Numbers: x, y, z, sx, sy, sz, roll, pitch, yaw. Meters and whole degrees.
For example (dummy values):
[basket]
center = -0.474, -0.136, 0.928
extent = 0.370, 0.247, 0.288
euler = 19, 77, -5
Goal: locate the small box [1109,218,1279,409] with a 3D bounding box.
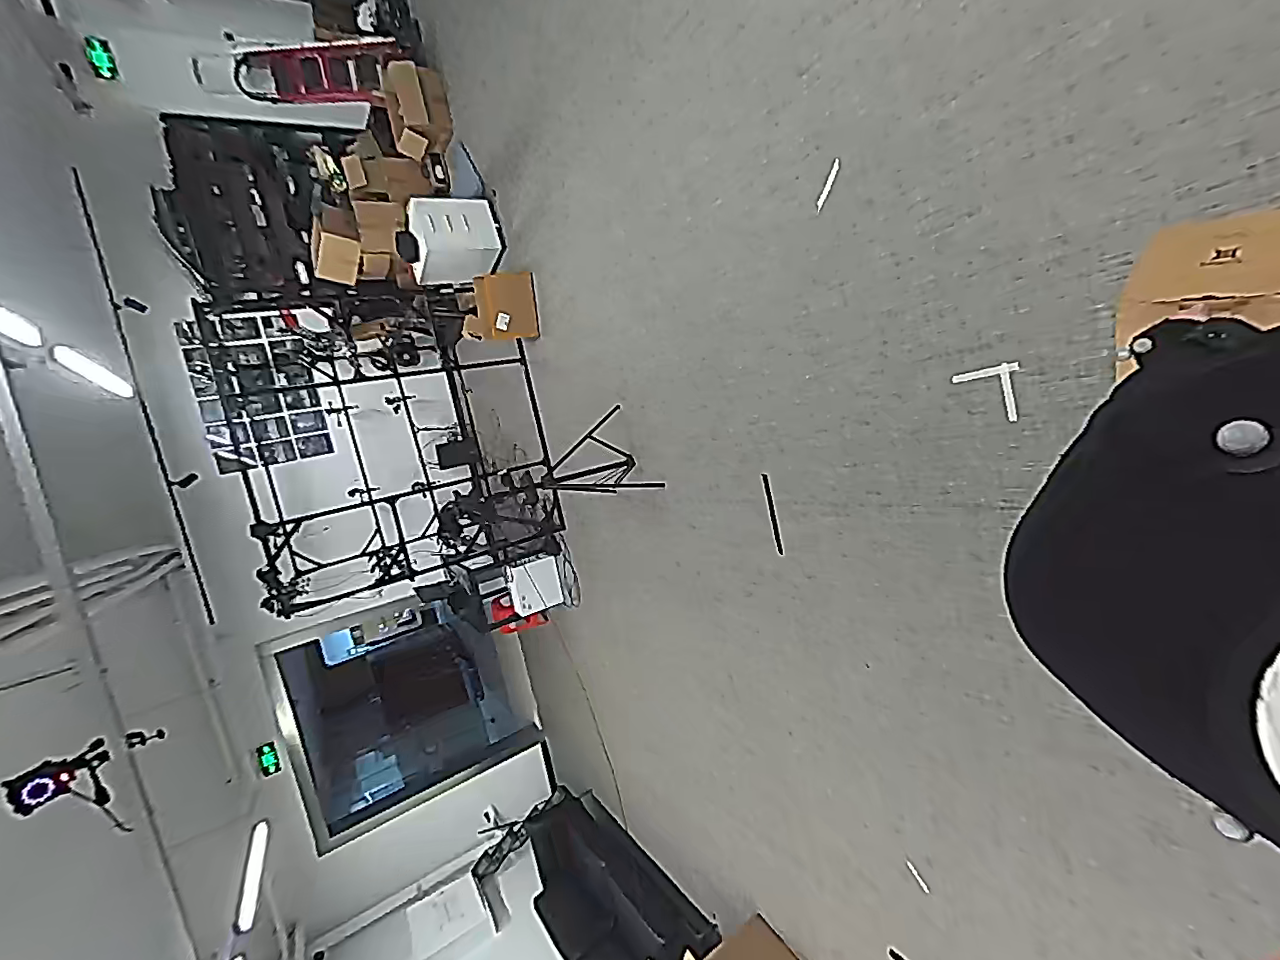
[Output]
[small box]
center = 0.744, -0.210, 0.704
extent = 0.168, 0.179, 0.176
euler = 15, 146, 49
